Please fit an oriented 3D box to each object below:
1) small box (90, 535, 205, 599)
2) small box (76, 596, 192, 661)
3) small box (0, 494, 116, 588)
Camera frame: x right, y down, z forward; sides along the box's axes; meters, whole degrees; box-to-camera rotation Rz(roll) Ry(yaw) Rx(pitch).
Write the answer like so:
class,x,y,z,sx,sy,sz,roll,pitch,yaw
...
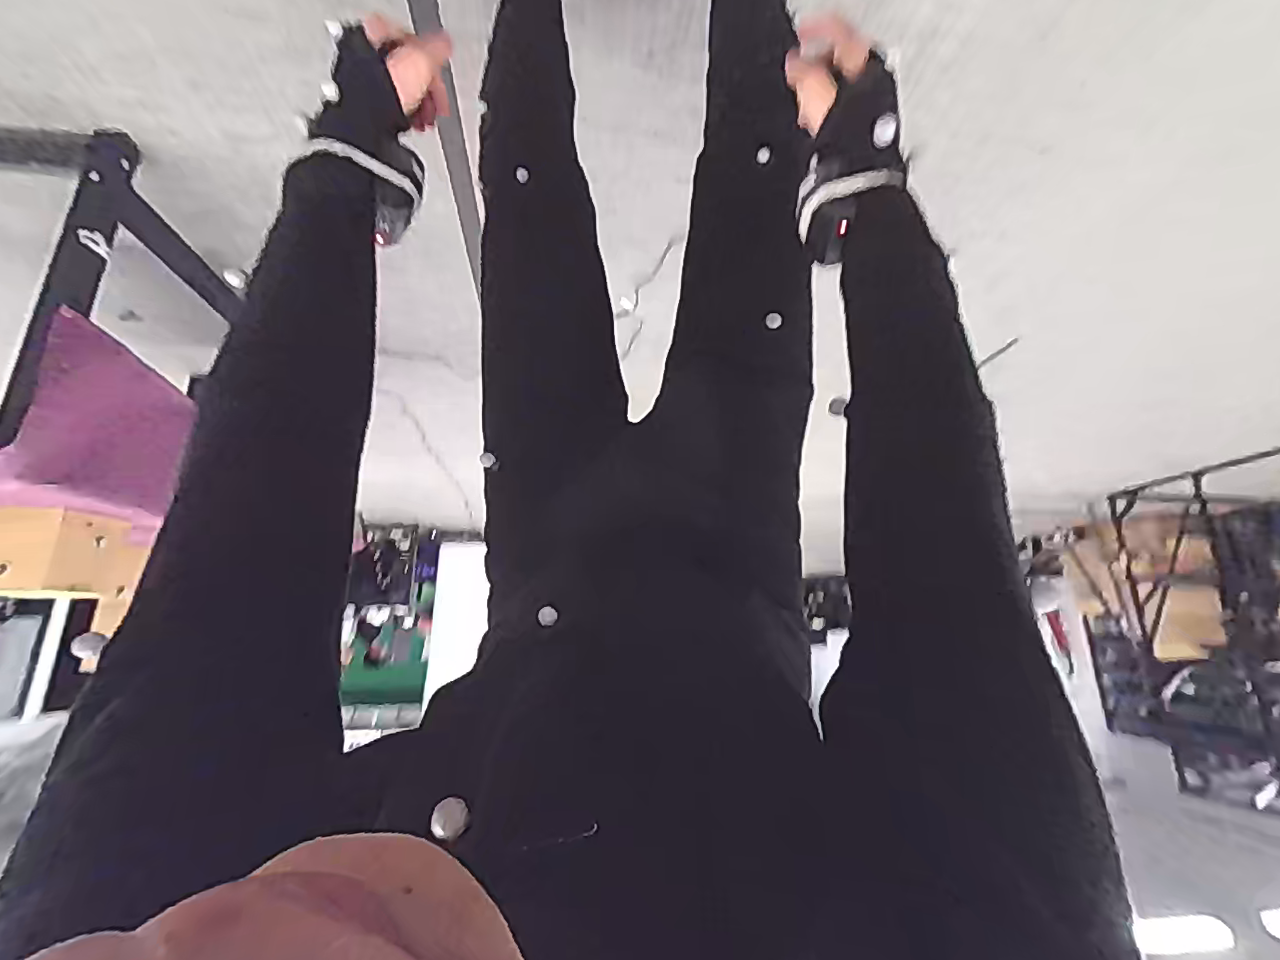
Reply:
class,x,y,z,sx,sy,sz,roll,pitch,yaw
small box,-1.415,0.256,1.567,0.179,0.176,0.168,1,165,-7
small box,-1.412,0.415,1.525,0.179,0.176,0.168,1,165,-3
small box,-1.241,0.127,1.106,0.179,0.176,0.168,0,165,-6
